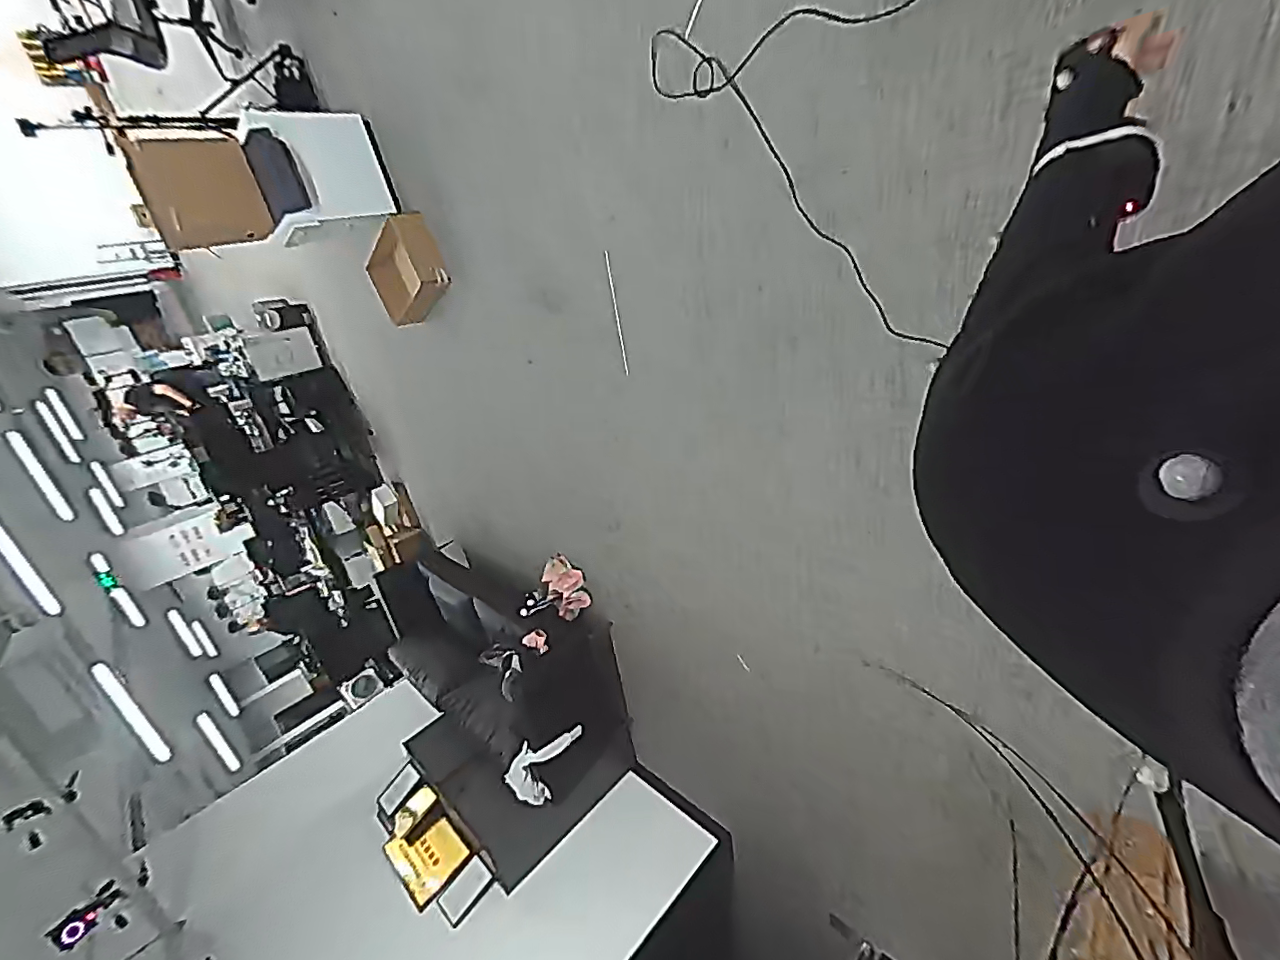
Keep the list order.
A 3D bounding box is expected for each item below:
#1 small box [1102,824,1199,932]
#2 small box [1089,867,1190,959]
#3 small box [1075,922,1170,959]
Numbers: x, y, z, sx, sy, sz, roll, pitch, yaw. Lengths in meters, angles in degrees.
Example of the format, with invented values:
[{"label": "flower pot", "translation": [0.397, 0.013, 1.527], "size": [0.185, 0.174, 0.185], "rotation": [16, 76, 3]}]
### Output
[{"label": "small box", "translation": [1.370, 1.077, 1.459], "size": [0.179, 0.176, 0.168], "rotation": [8, 119, 45]}, {"label": "small box", "translation": [1.251, 1.134, 1.360], "size": [0.179, 0.176, 0.168], "rotation": [8, 118, 45]}, {"label": "small box", "translation": [1.131, 1.194, 1.264], "size": [0.179, 0.176, 0.168], "rotation": [9, 120, 45]}]
